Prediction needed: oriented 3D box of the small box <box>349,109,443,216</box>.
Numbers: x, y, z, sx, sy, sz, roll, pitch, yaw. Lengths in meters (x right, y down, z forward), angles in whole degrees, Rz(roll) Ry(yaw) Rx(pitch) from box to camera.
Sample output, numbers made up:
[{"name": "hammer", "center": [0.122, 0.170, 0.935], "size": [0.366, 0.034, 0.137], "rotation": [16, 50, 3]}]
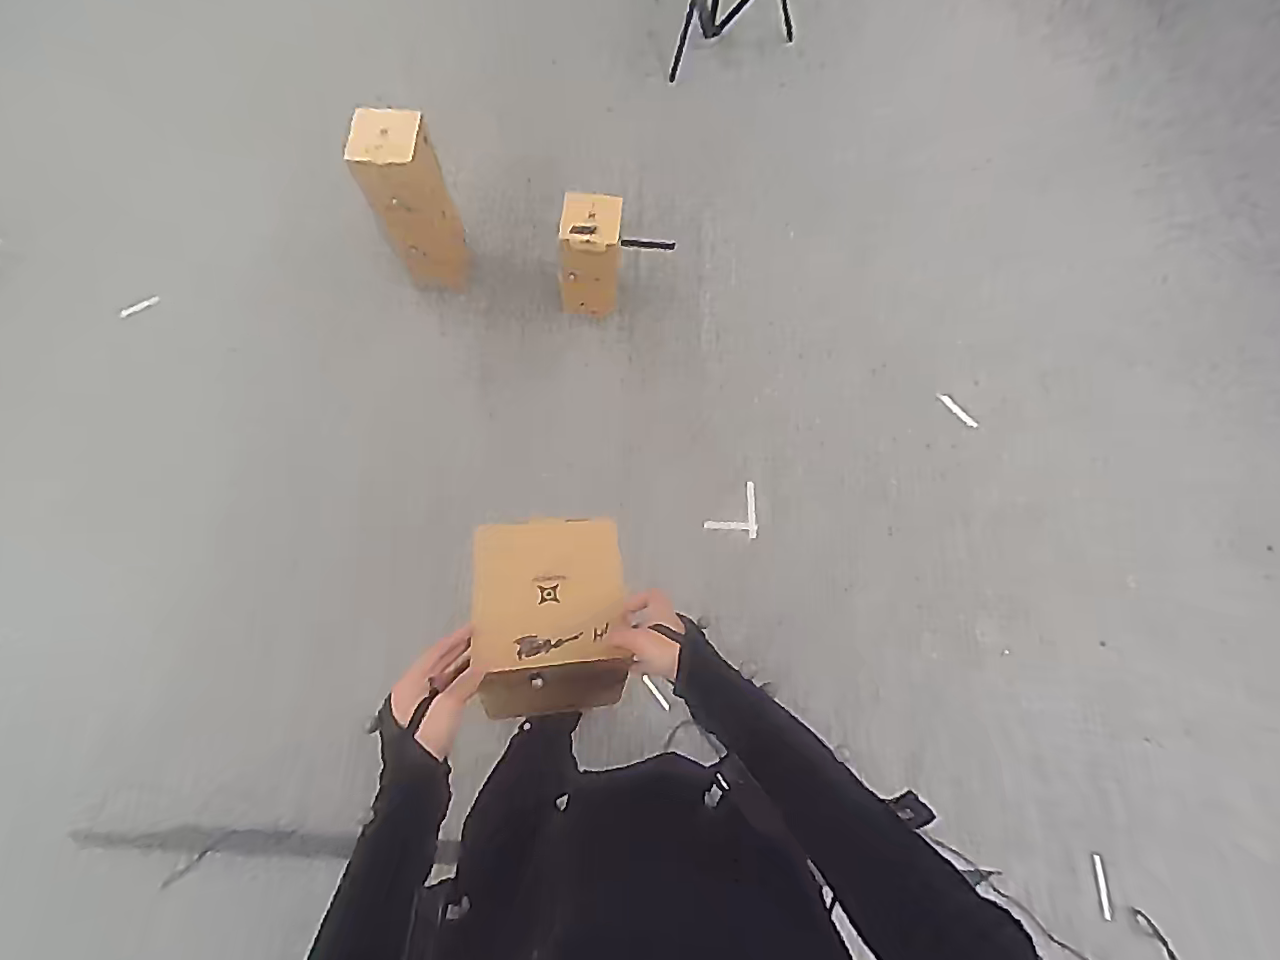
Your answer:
[{"name": "small box", "center": [-0.627, -0.827, 1.416], "size": [0.168, 0.176, 0.179], "rotation": [2, 72, -2]}]

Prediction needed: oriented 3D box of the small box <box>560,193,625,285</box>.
[{"name": "small box", "center": [-0.136, -0.698, 1.581], "size": [0.168, 0.176, 0.179], "rotation": [6, 71, -3]}]

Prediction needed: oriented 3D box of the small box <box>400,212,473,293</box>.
[{"name": "small box", "center": [-0.642, -0.728, 1.728], "size": [0.168, 0.176, 0.179], "rotation": [2, 71, -3]}]

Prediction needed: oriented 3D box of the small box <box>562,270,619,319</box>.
[{"name": "small box", "center": [-0.155, -0.646, 1.736], "size": [0.168, 0.176, 0.179], "rotation": [6, 72, -2]}]

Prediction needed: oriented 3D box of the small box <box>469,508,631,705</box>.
[{"name": "small box", "center": [-0.109, 0.153, 0.658], "size": [0.168, 0.176, 0.179], "rotation": [-2, 52, -10]}]
